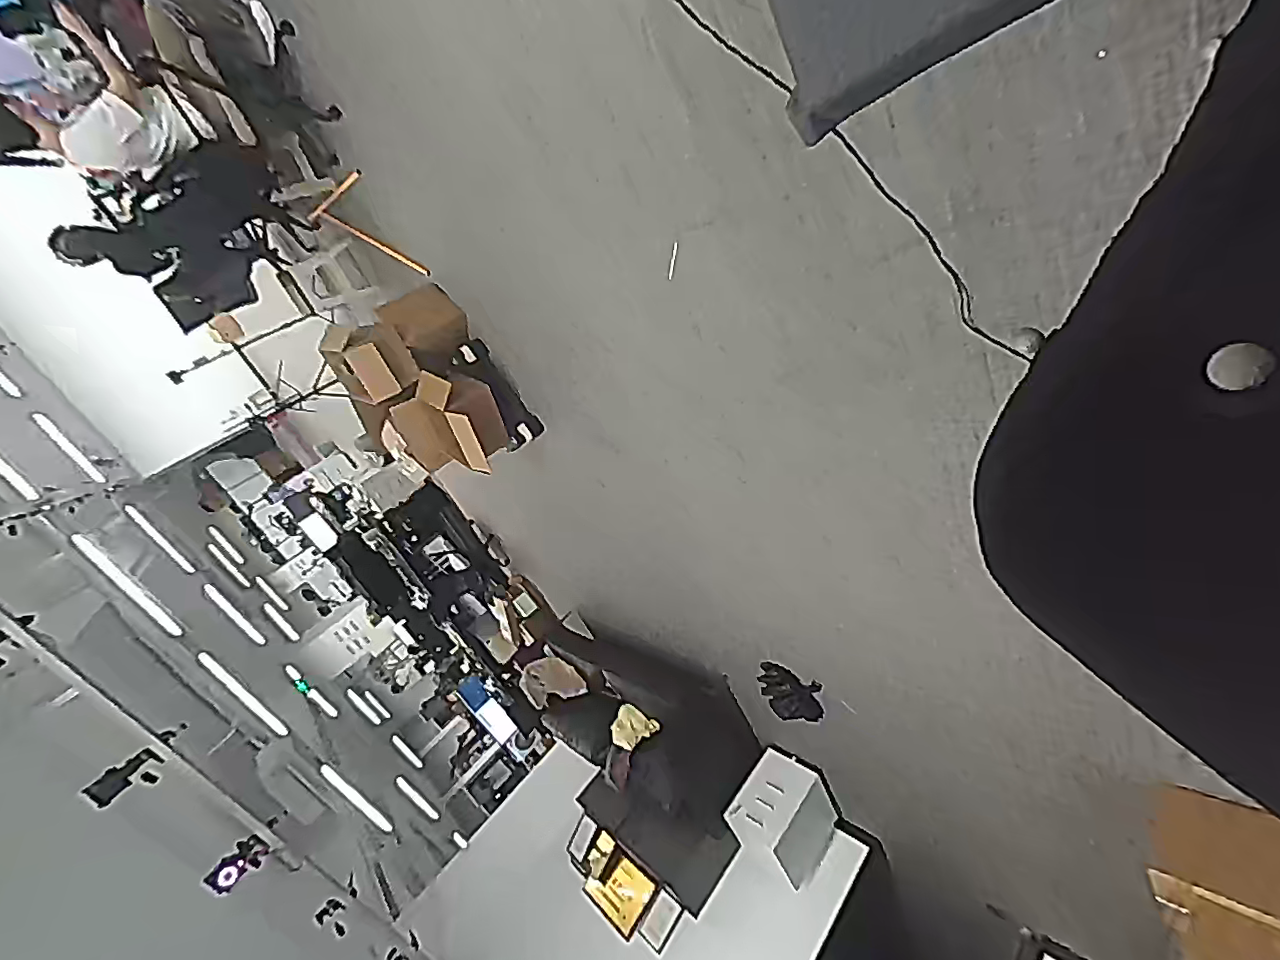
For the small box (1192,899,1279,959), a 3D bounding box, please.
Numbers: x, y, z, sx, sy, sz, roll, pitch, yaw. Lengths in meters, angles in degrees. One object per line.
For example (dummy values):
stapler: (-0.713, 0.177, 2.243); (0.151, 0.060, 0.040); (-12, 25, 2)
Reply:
small box: (1.636, 1.296, 1.460); (0.179, 0.176, 0.168); (-1, 123, 55)
